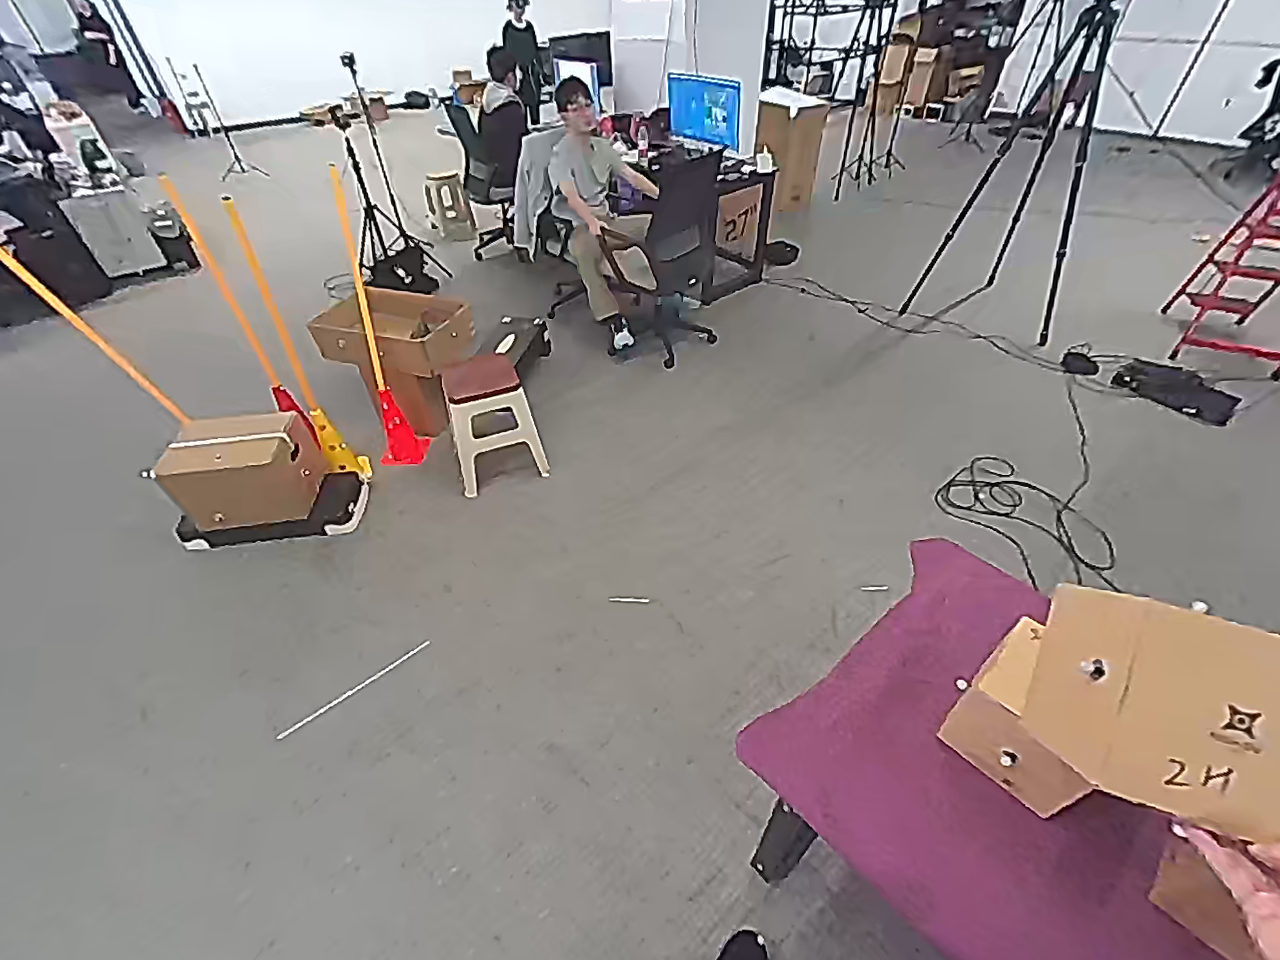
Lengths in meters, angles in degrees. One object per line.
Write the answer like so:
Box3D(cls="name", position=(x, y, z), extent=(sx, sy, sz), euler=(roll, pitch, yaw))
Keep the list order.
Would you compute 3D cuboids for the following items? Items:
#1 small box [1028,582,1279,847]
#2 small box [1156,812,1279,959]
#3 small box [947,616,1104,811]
Box3D(cls="small box", position=(0.519, 0.208, 0.527), extent=(0.168, 0.176, 0.179), euler=(16, 90, 17))
Box3D(cls="small box", position=(0.783, 0.491, 0.638), extent=(0.168, 0.176, 0.179), euler=(-32, 49, -29))
Box3D(cls="small box", position=(0.591, 0.347, 0.804), extent=(0.179, 0.176, 0.168), euler=(-33, 51, -28))
